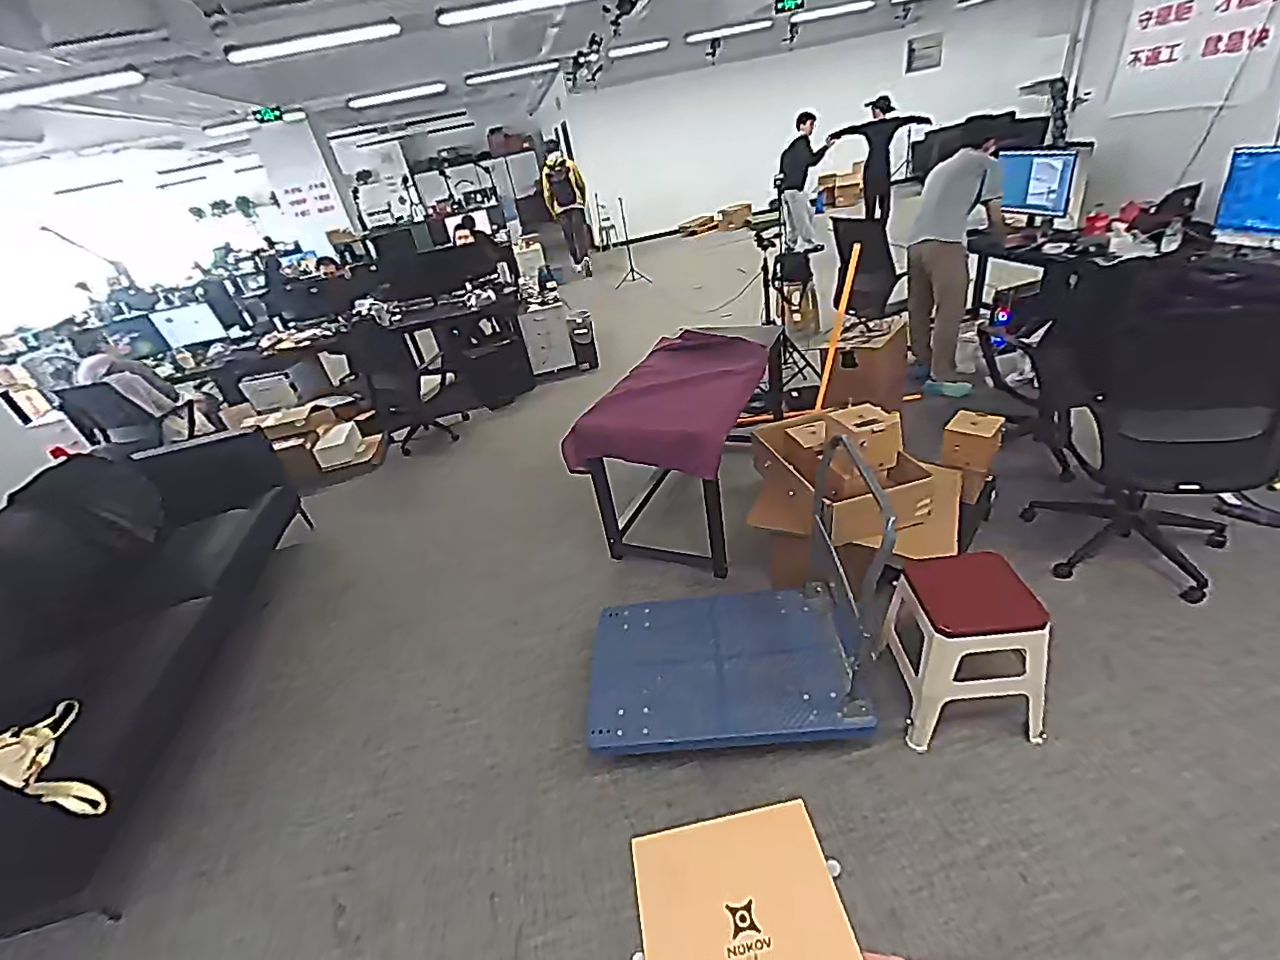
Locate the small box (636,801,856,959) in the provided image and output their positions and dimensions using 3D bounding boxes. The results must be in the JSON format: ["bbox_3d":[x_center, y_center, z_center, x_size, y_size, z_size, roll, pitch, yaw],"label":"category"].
[{"bbox_3d":[0.095,0.431,0.485,0.168,0.176,0.179,-12,34,0],"label":"small box"}]
